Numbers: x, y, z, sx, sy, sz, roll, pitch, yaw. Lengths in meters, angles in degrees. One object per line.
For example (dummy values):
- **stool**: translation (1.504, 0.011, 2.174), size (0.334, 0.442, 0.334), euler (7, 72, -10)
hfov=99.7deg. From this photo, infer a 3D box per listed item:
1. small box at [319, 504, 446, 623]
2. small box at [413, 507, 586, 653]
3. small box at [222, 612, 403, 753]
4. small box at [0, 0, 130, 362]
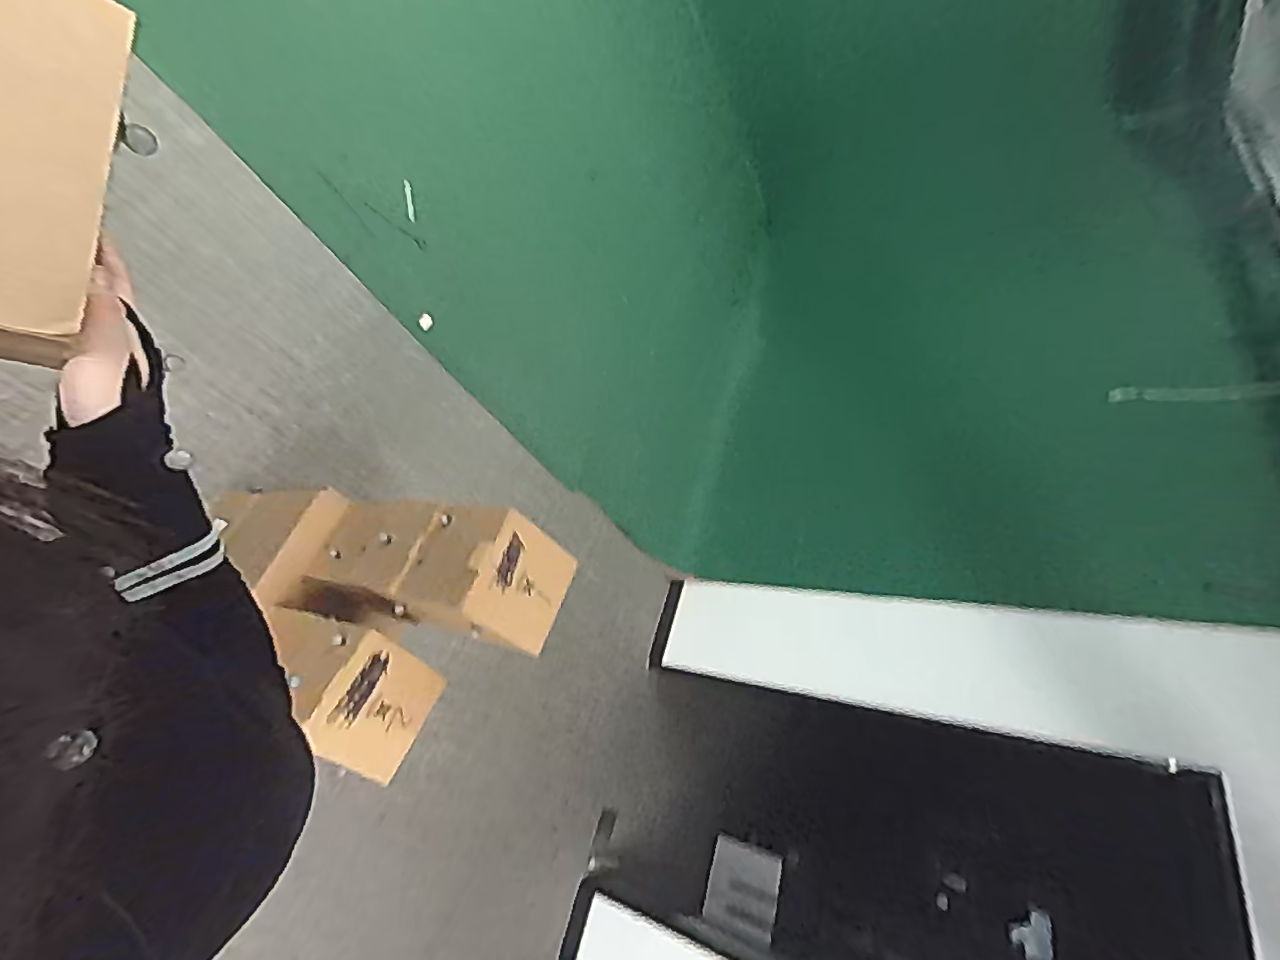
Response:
- **small box**: translation (-0.485, 0.163, 1.067), size (0.179, 0.176, 0.168), euler (51, 52, -40)
- **small box**: translation (-0.224, 0.156, 0.867), size (0.179, 0.176, 0.168), euler (49, 53, -42)
- **small box**: translation (-0.565, 0.344, 0.942), size (0.179, 0.176, 0.168), euler (55, 45, -36)
- **small box**: translation (-0.380, -0.168, 0.262), size (0.168, 0.176, 0.179), euler (8, 87, -48)
